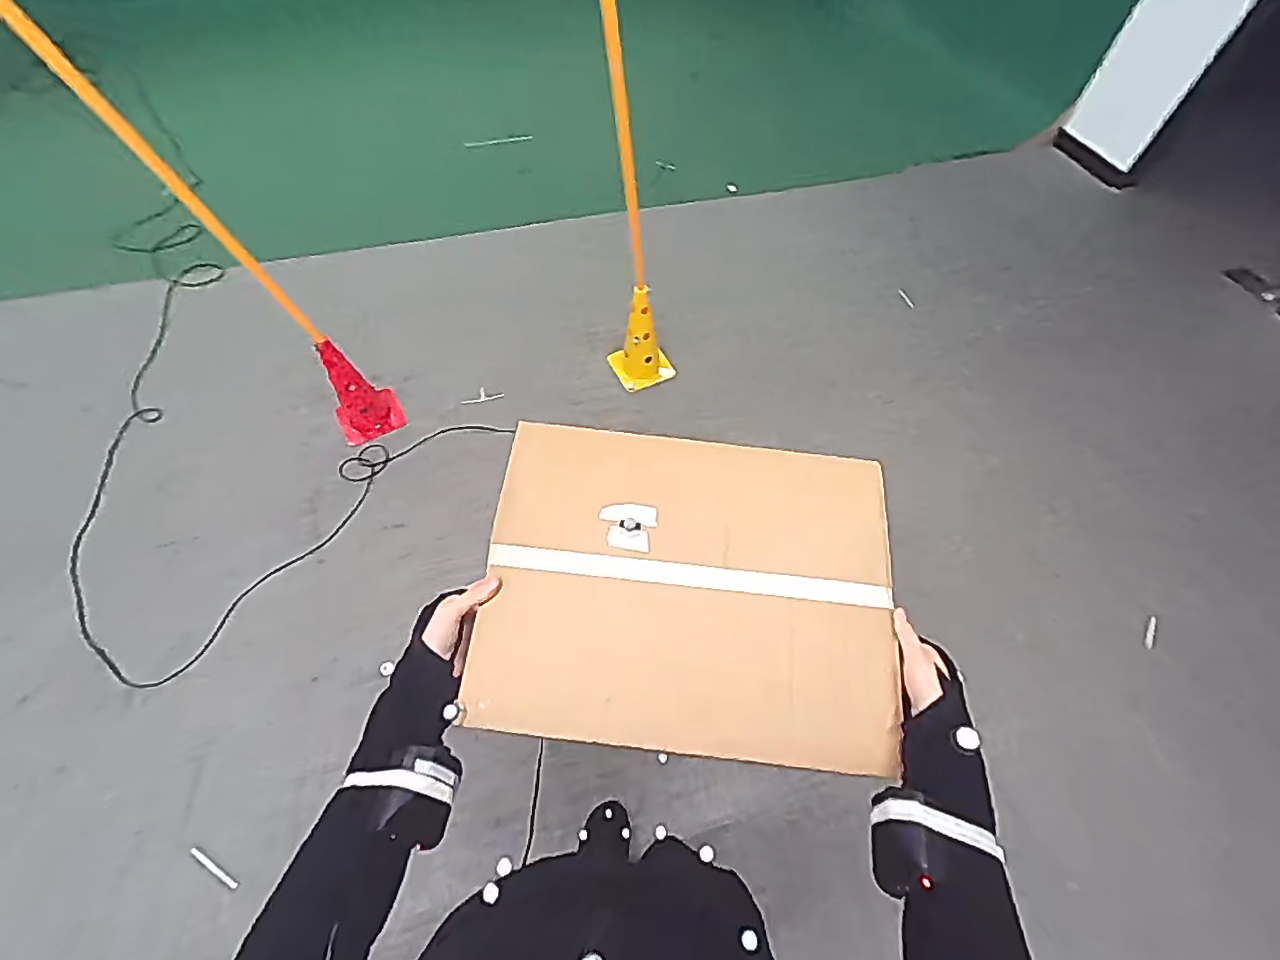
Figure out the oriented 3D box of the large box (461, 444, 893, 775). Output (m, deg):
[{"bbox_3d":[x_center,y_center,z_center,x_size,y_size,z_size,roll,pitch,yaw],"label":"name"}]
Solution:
[{"bbox_3d":[0.044,0.172,0.687,0.408,0.320,0.320,5,64,2],"label":"large box"}]
